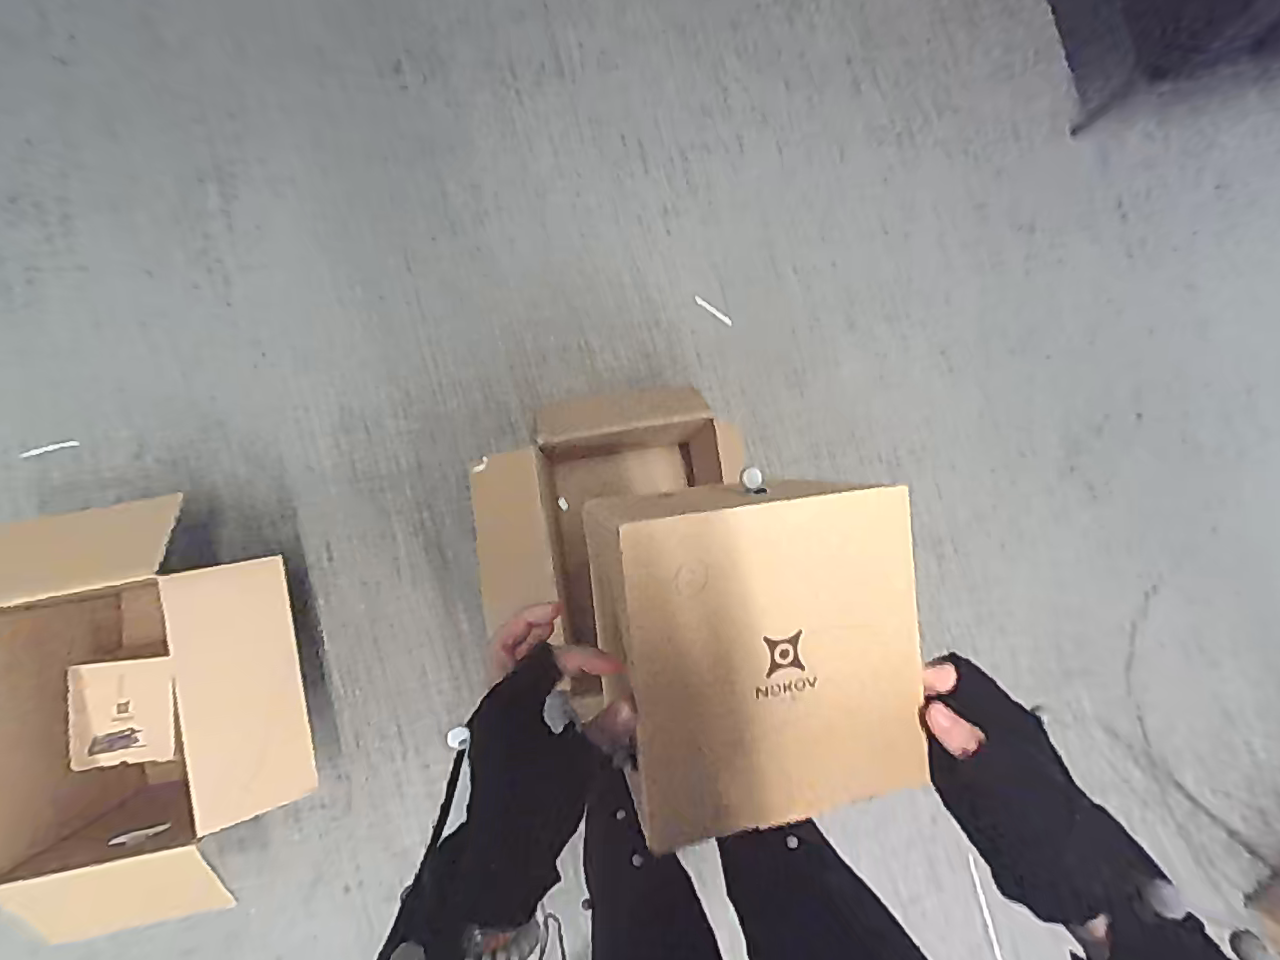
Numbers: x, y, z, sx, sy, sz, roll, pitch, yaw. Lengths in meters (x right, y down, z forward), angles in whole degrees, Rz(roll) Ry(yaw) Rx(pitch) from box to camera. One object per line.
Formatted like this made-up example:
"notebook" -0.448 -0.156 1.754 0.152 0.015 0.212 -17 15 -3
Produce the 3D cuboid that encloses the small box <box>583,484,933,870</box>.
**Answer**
"small box" 0.058 0.097 0.358 0.168 0.176 0.179 -7 94 -11
